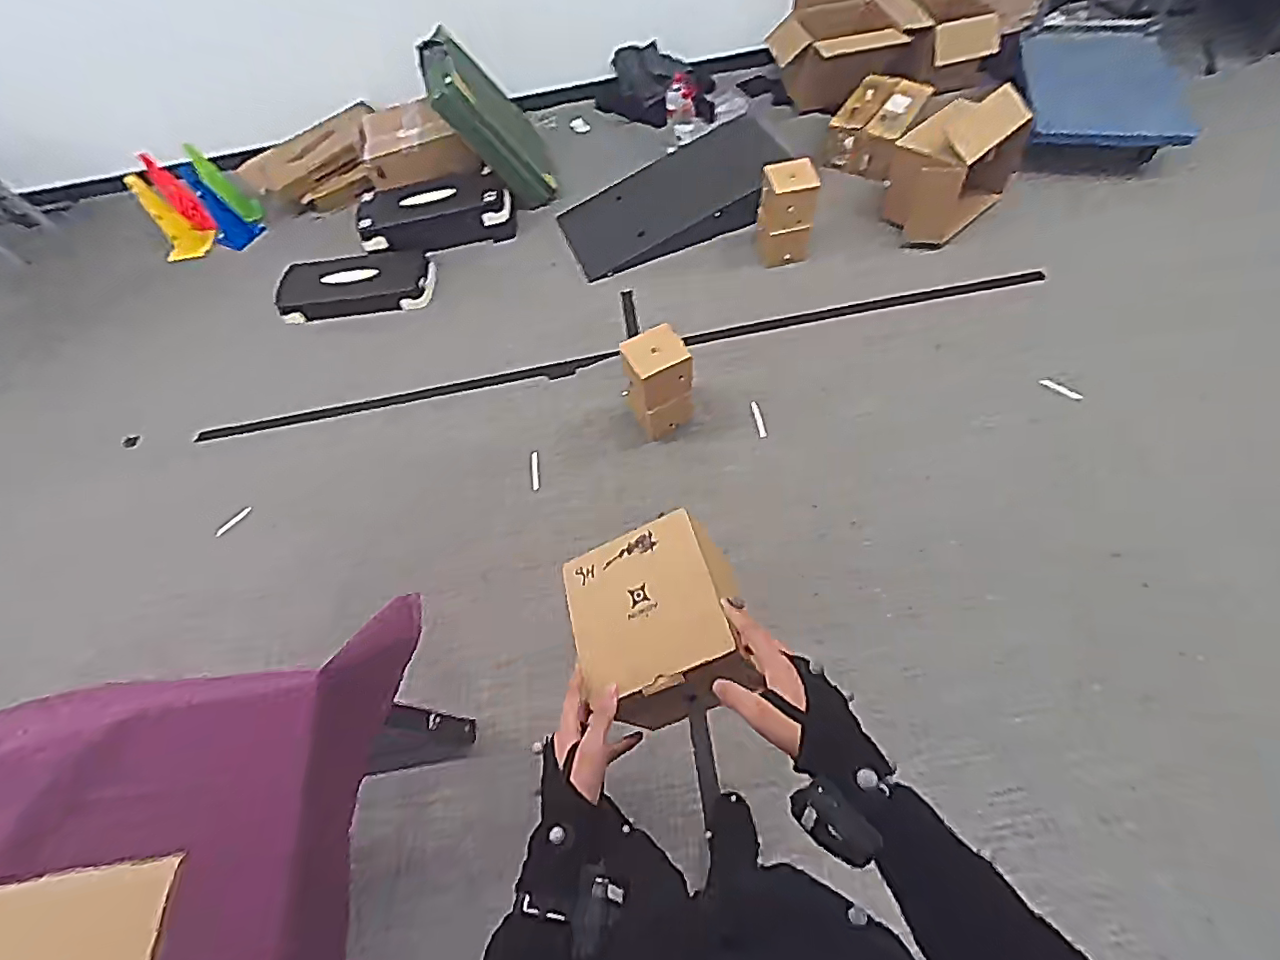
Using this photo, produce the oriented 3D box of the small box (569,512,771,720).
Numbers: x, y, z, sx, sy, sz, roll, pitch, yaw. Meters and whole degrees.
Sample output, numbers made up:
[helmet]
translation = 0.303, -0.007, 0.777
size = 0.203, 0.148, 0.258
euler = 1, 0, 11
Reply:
[small box]
translation = 0.039, 0.172, 0.645
size = 0.168, 0.176, 0.179
euler = -25, 54, 11
